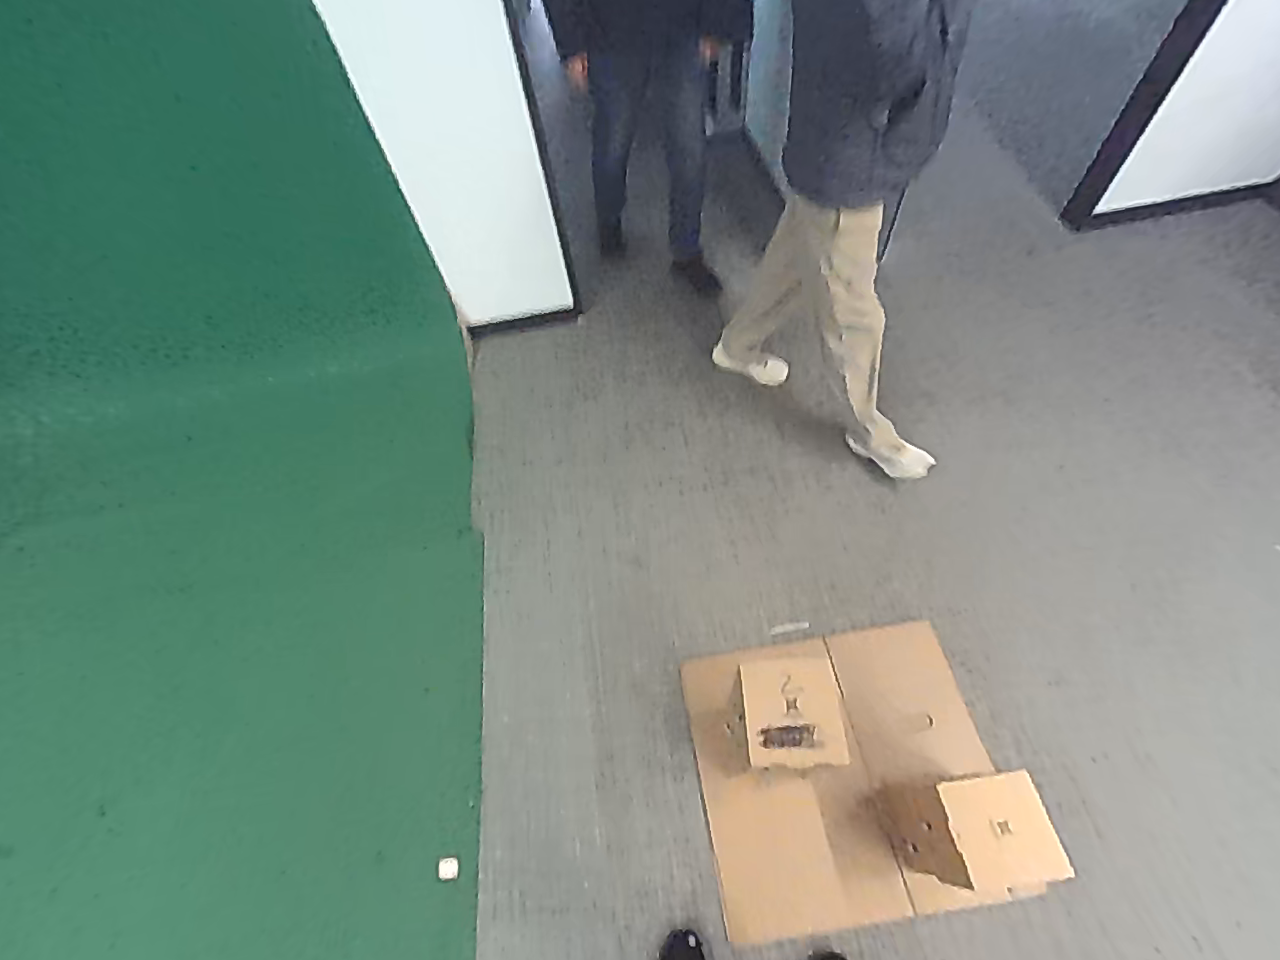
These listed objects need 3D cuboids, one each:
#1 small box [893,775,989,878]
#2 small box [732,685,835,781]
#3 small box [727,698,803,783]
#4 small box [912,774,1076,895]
[{"bbox_3d":[0.671,0.748,1.168,0.179,0.176,0.168,-9,57,1],"label":"small box"},{"bbox_3d":[0.293,0.538,1.146,0.179,0.176,0.168,-3,56,4],"label":"small box"},{"bbox_3d":[0.304,0.622,1.288,0.179,0.176,0.168,-3,57,4],"label":"small box"},{"bbox_3d":[0.656,0.667,1.029,0.179,0.176,0.168,-11,58,1],"label":"small box"}]
